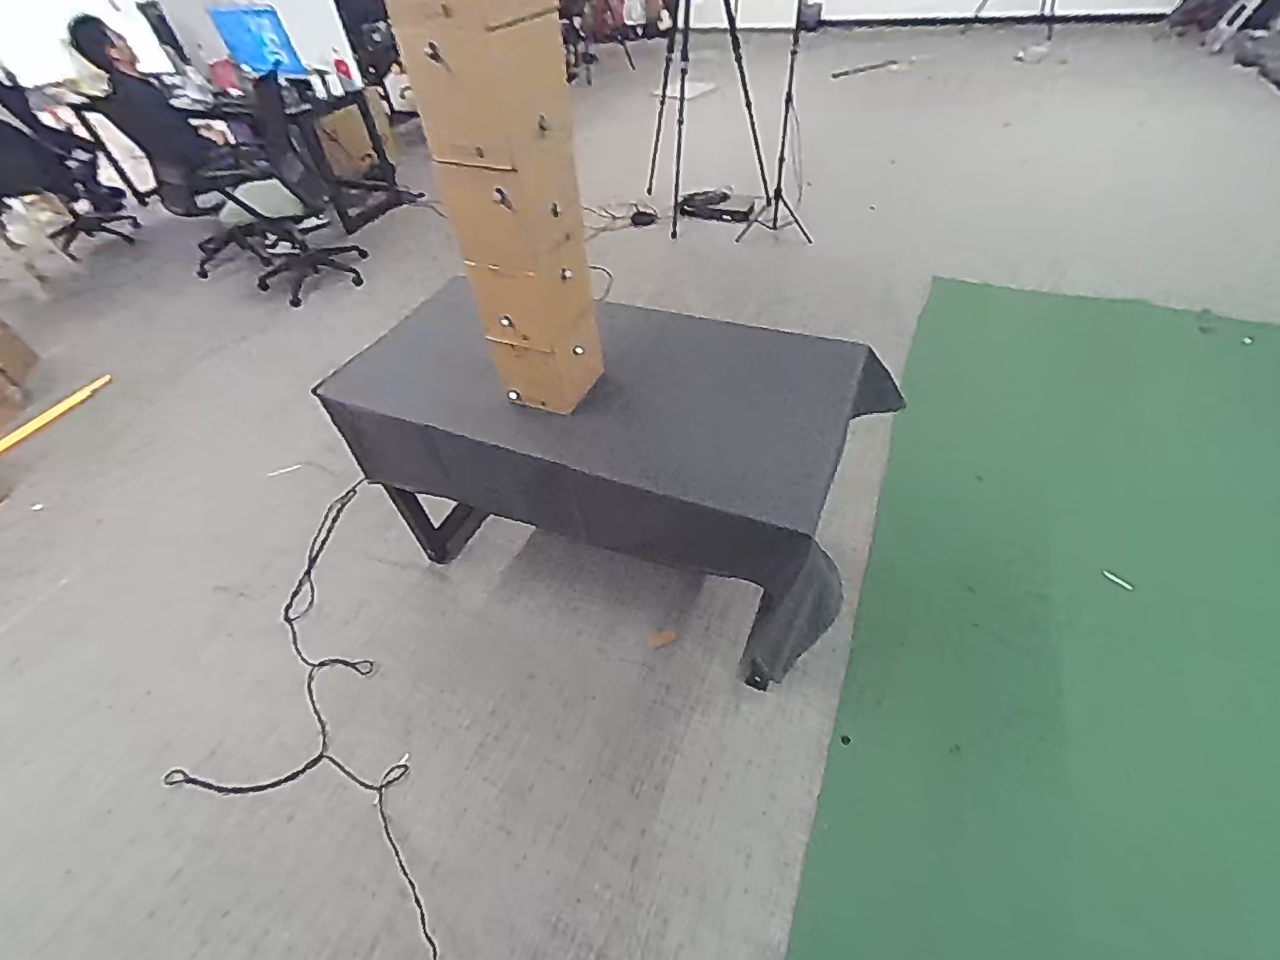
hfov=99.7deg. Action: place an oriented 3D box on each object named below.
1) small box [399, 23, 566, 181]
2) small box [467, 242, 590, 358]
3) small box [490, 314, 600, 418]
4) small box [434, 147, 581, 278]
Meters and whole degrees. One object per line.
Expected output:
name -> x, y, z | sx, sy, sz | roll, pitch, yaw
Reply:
small box -> -0.230, -0.593, 0.847 | 0.168, 0.176, 0.179 | 18, 51, 20
small box -> -0.212, -0.373, 1.091 | 0.168, 0.176, 0.179 | 16, 51, 19
small box -> -0.202, -0.264, 1.209 | 0.168, 0.176, 0.179 | 15, 49, 19
small box -> -0.224, -0.483, 0.968 | 0.179, 0.176, 0.168 | 17, 51, 20
